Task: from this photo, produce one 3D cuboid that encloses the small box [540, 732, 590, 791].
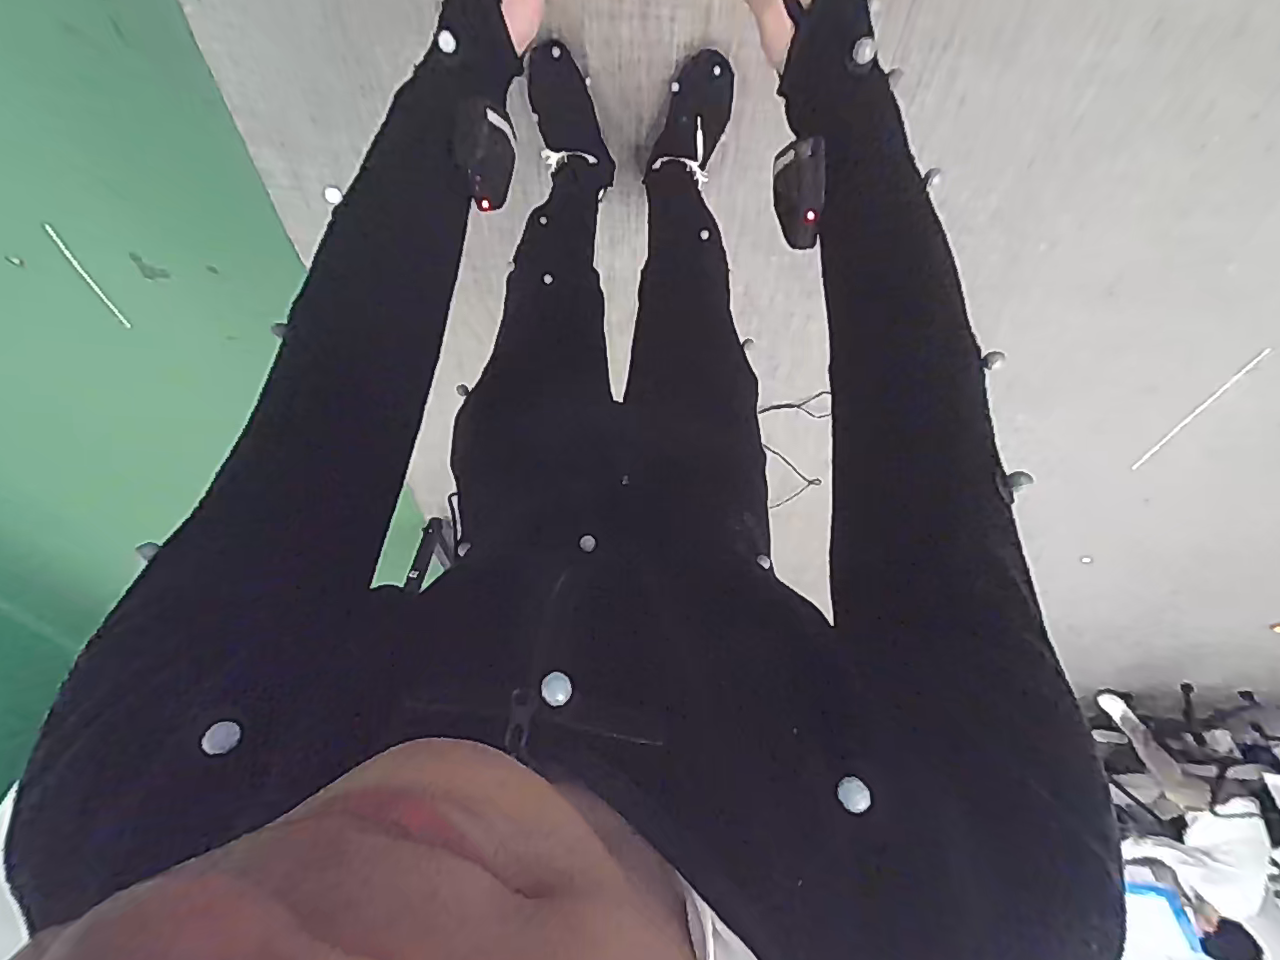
[{"bbox_3d":[-0.289,1.109,2.124,0.168,0.176,0.179,5,141,0],"label":"small box"}]
